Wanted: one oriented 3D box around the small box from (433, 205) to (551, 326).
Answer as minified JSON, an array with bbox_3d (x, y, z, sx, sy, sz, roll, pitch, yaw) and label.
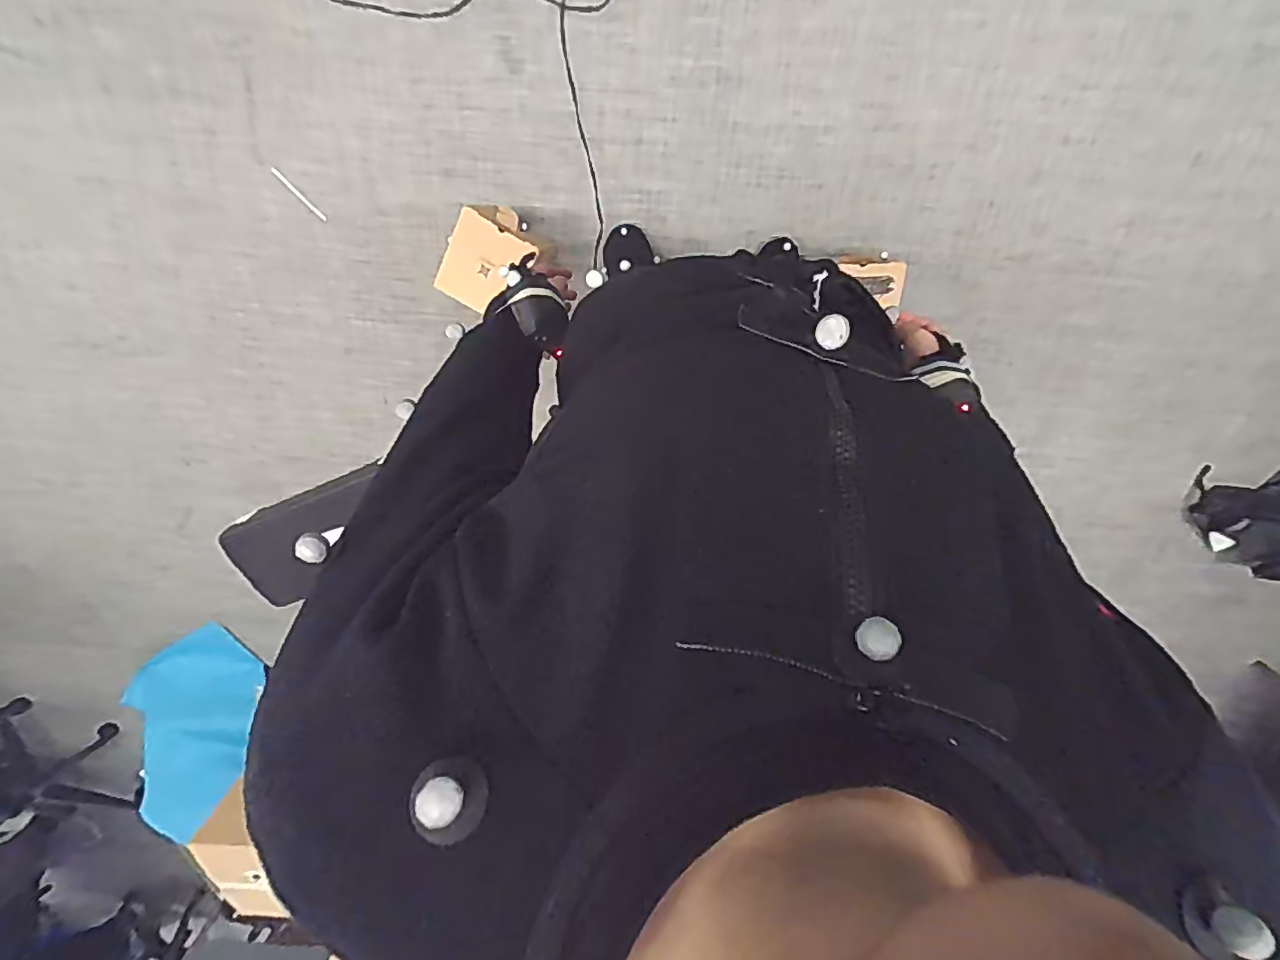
[{"bbox_3d":[-0.307,-0.459,1.155,0.168,0.176,0.179,28,114,-9],"label":"small box"}]
